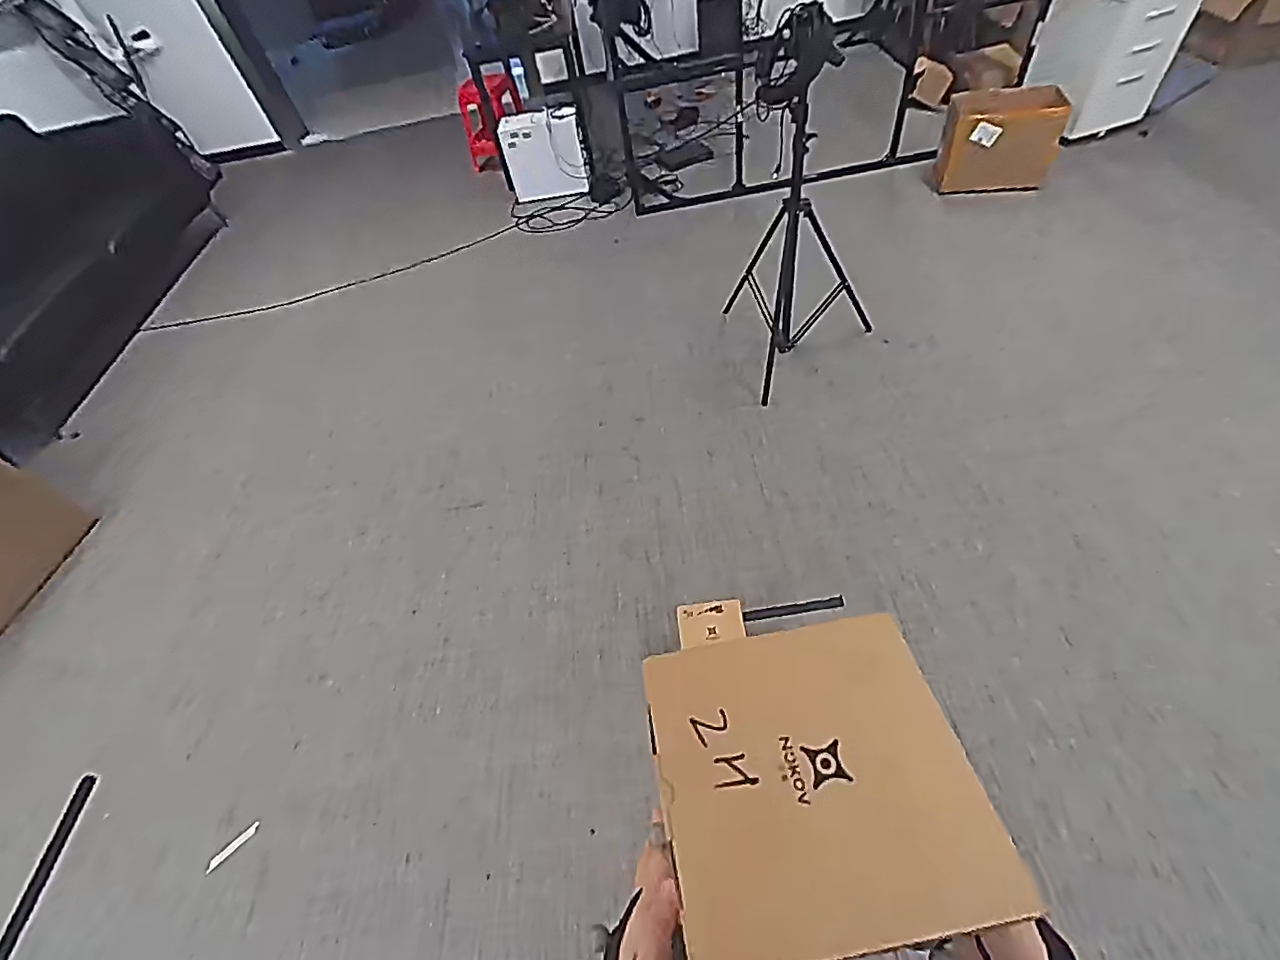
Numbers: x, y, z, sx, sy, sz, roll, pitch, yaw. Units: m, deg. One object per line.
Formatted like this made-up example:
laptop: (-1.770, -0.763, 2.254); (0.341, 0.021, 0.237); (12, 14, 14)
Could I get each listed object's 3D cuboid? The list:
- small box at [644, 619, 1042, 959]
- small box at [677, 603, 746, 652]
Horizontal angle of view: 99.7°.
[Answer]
small box: (0.104, 0.219, 0.366); (0.179, 0.176, 0.168); (-10, 46, -2)
small box: (0.193, 0.442, 1.408); (0.168, 0.176, 0.179); (-8, 52, 5)
